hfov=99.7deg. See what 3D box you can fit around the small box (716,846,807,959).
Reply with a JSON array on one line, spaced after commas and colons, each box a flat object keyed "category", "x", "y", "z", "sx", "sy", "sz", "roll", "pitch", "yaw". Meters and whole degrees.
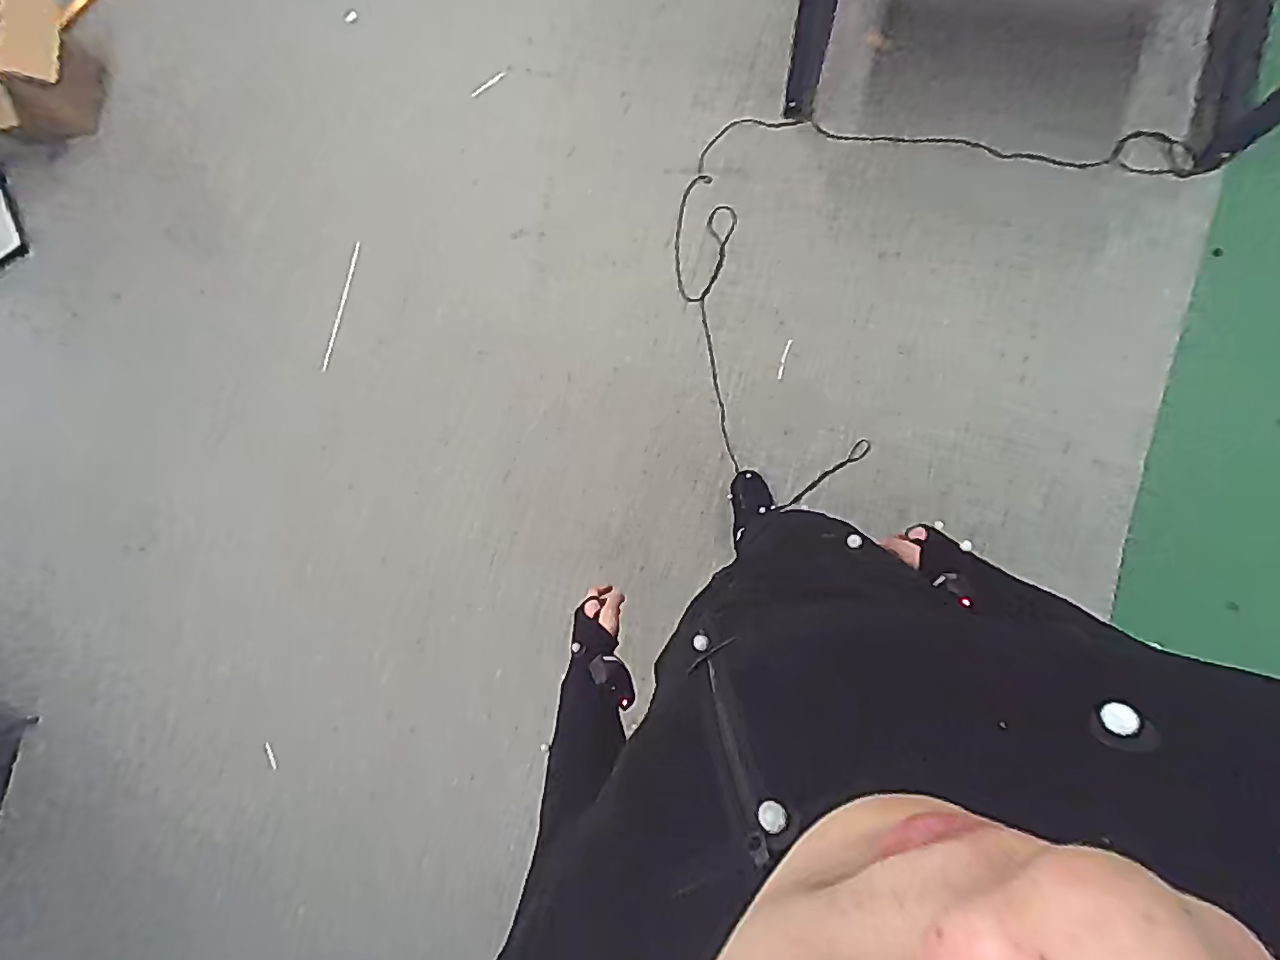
[{"category": "small box", "x": 0.280, "y": 1.015, "z": 1.267, "sx": 0.168, "sy": 0.176, "sz": 0.179, "roll": 14, "pitch": 89, "yaw": 9}]
